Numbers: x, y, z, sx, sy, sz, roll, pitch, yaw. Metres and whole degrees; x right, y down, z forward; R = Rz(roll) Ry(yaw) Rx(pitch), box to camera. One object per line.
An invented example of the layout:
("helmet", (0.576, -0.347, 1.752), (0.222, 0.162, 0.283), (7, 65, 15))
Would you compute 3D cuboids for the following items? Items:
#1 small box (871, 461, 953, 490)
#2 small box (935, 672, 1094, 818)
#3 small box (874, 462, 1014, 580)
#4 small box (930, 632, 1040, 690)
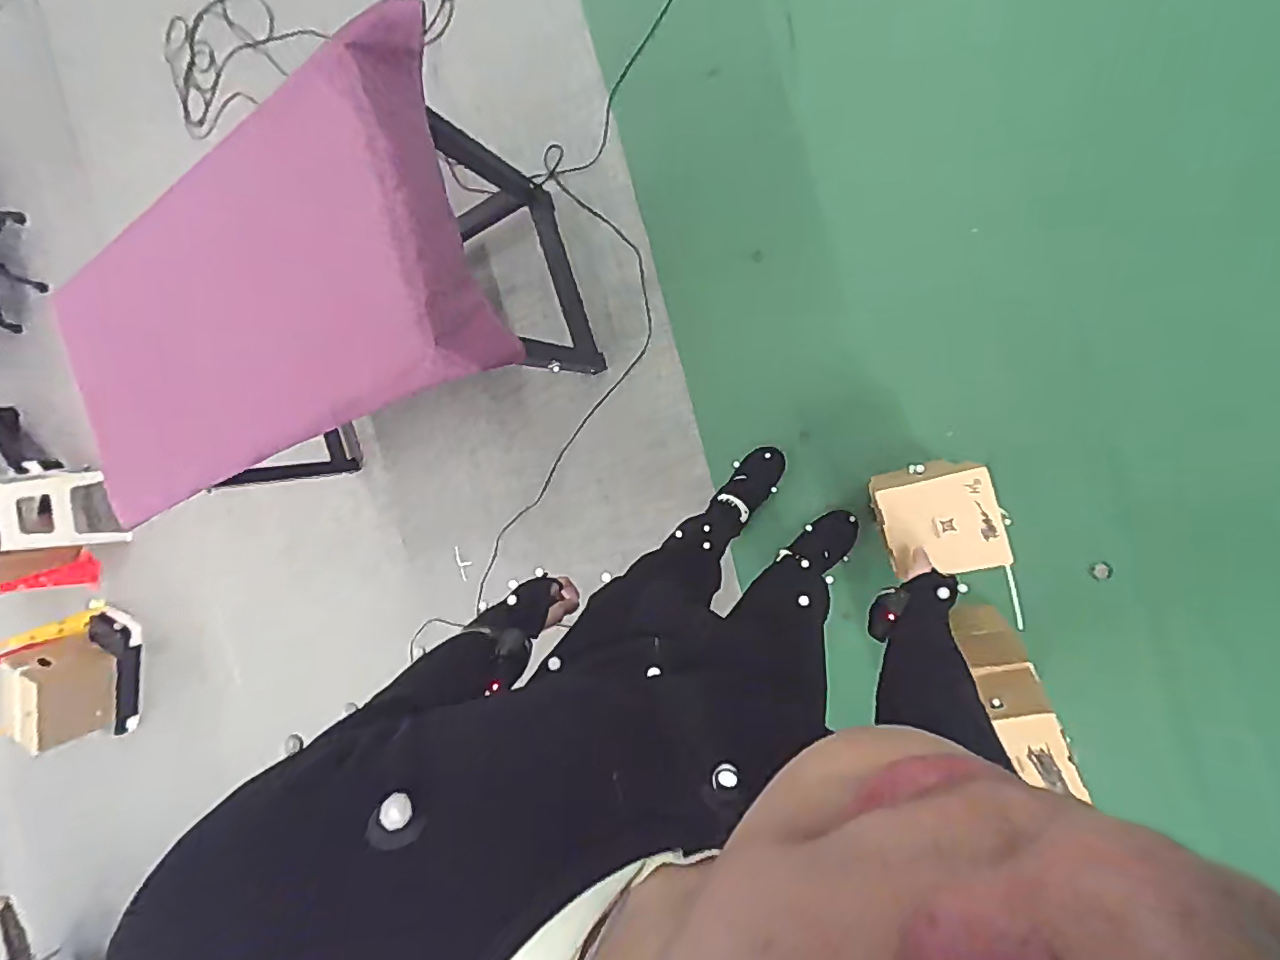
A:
("small box", (0.658, 0.058, 1.274), (0.179, 0.176, 0.168), (-17, 89, 23))
("small box", (0.653, 0.465, 0.967), (0.179, 0.176, 0.168), (-22, 88, 26))
("small box", (0.533, 0.069, 0.969), (0.179, 0.176, 0.168), (-16, 89, 24))
("small box", (0.714, 0.430, 1.116), (0.179, 0.176, 0.168), (-16, 91, 24))
